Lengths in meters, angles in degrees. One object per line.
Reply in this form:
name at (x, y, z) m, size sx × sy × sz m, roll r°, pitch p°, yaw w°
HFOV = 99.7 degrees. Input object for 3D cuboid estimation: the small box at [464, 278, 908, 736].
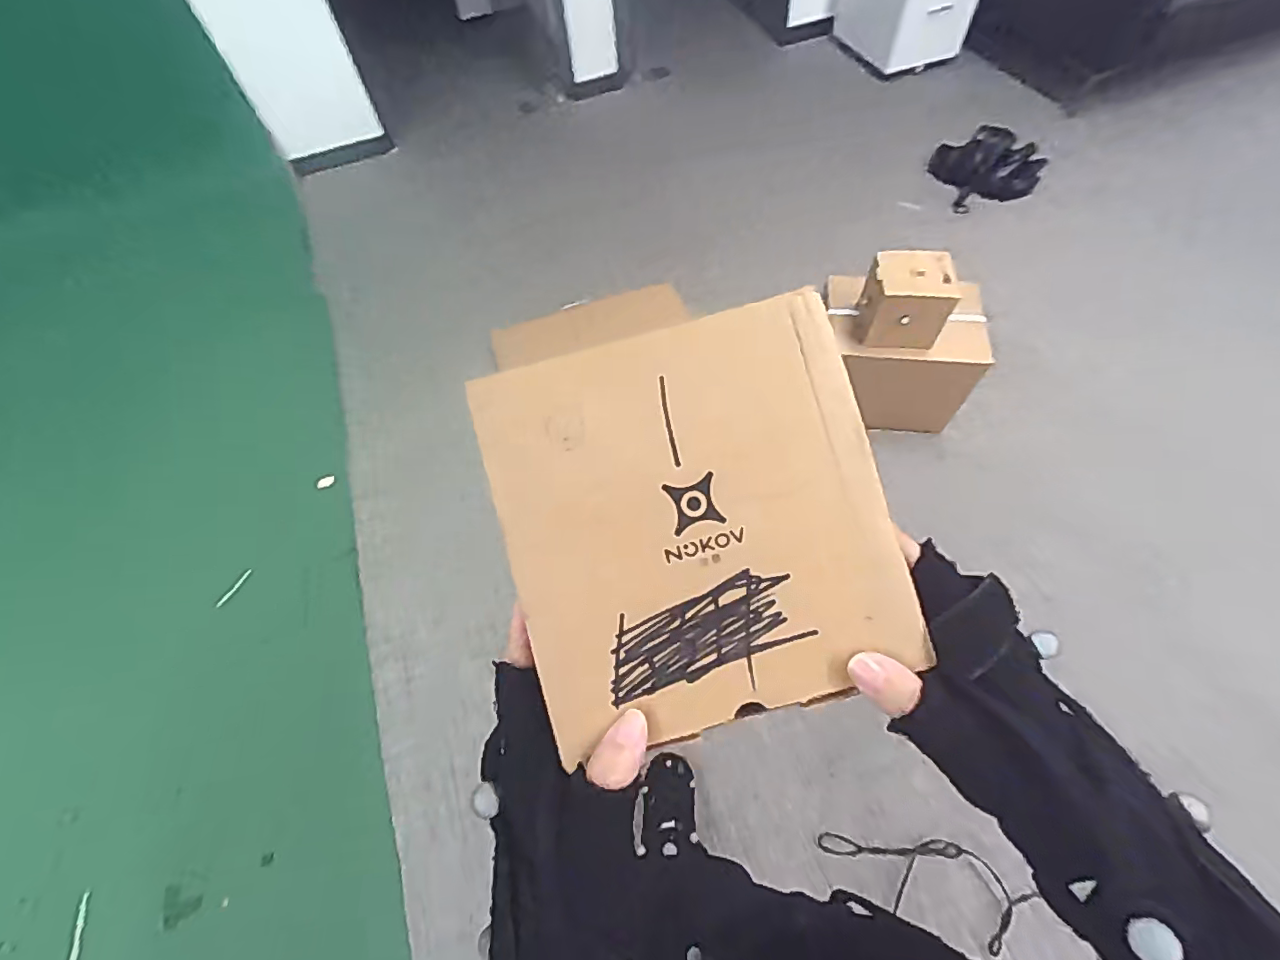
small box at (0.020, 0.015, 0.322) m, size 0.168 × 0.176 × 0.179 m, roll -16°, pitch 85°, yaw -1°

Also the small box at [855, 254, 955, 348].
small box at (0.664, -0.454, 1.384) m, size 0.179 × 0.176 × 0.168 m, roll 1°, pitch 58°, yaw 4°
